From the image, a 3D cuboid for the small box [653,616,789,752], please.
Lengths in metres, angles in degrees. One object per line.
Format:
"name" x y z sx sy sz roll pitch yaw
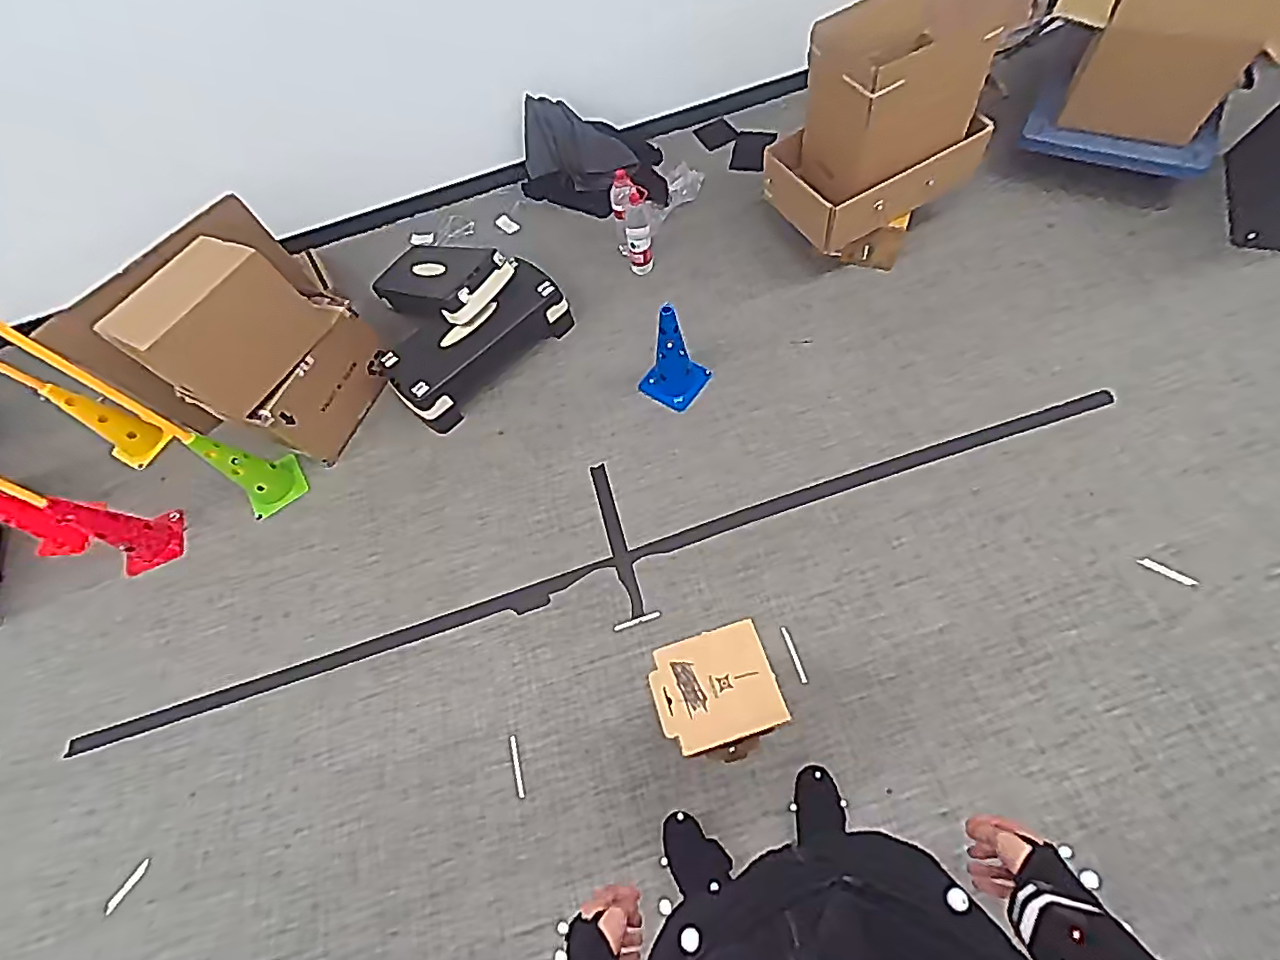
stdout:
"small box" 0.134 0.354 0.923 0.179 0.176 0.168 -18 63 -2
